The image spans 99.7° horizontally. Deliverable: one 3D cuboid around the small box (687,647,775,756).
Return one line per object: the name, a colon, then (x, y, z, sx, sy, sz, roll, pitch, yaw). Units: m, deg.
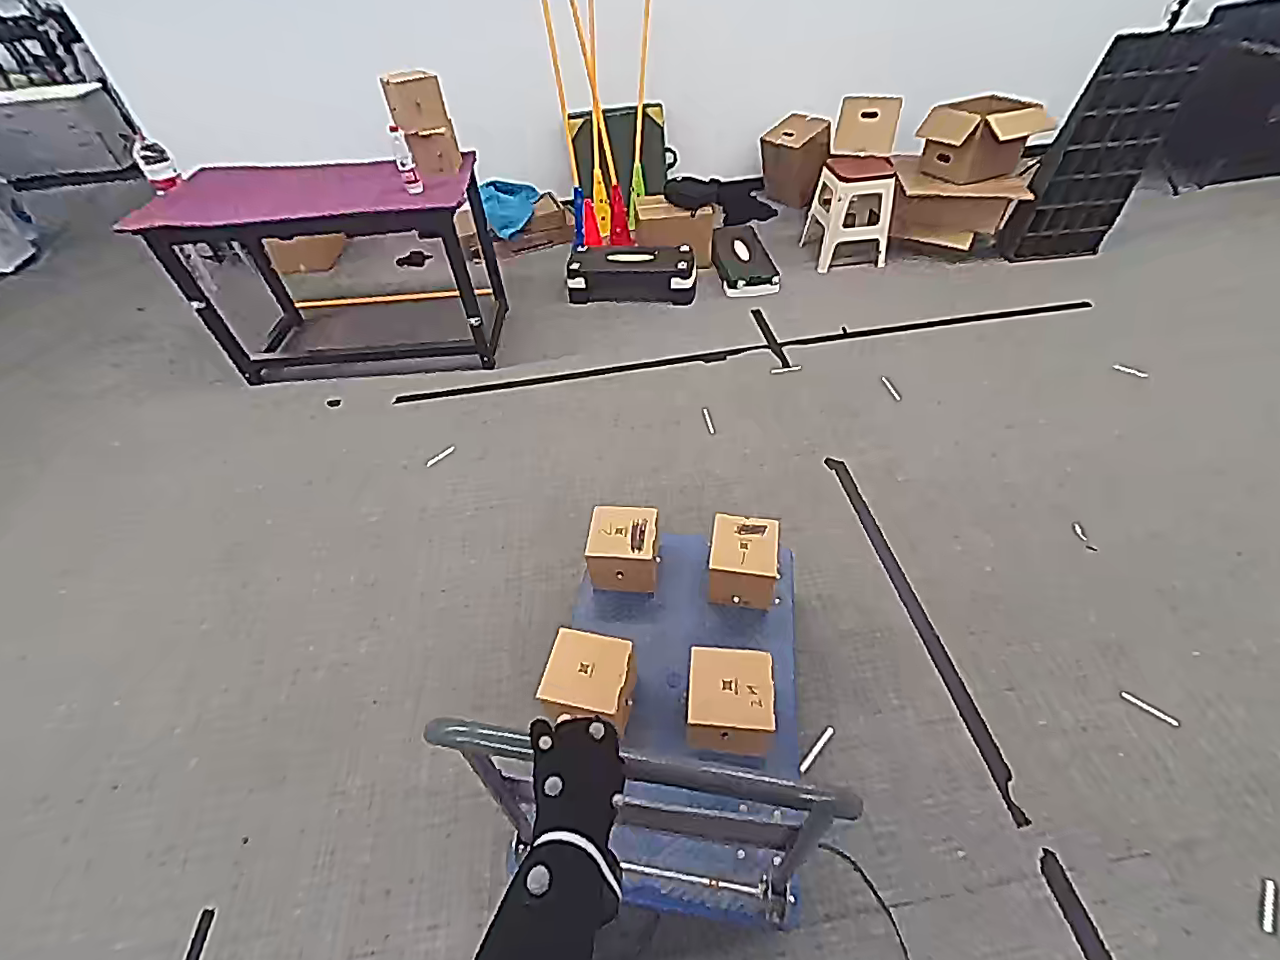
small box: (0.196, 0.485, 1.181, 0.179, 0.176, 0.168, 3, 48, 7)

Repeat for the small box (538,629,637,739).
small box: (-0.109, 0.464, 1.227, 0.179, 0.176, 0.168, 8, 48, 10)

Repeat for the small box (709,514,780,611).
small box: (0.273, 0.217, 1.424, 0.168, 0.176, 0.179, 6, 49, 10)
